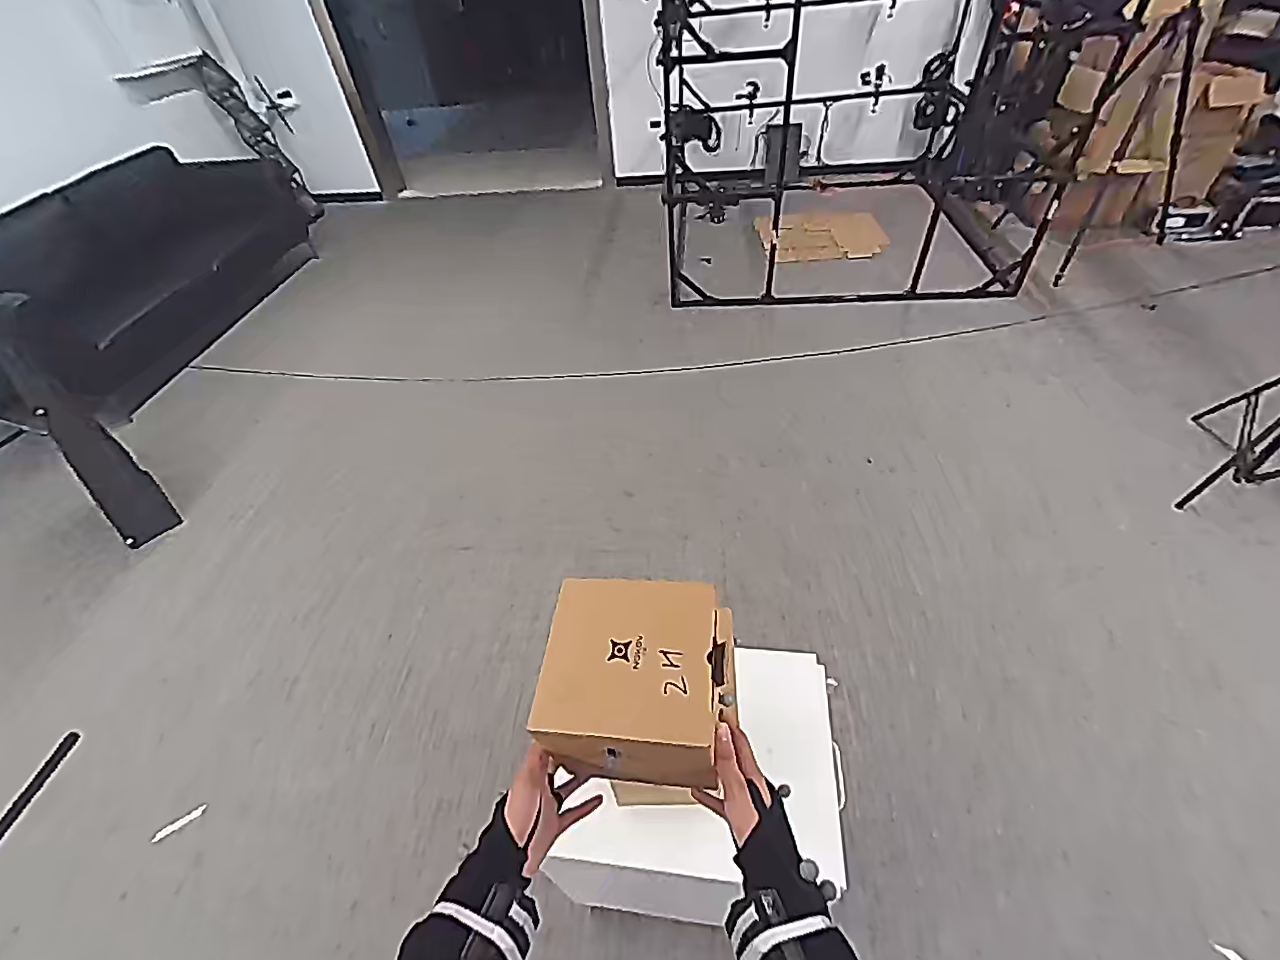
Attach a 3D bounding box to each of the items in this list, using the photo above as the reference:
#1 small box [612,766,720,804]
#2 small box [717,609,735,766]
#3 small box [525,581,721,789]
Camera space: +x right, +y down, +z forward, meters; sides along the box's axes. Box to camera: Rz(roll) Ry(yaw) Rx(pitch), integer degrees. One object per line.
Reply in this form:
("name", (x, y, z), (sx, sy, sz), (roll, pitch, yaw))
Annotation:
("small box", (0.041, 0.438, 0.920), (0.179, 0.176, 0.168), (-2, 45, 2))
("small box", (0.054, 0.313, 0.814), (0.168, 0.176, 0.179), (0, 44, 5))
("small box", (-0.003, 0.230, 0.604), (0.179, 0.176, 0.168), (1, 49, 11))
